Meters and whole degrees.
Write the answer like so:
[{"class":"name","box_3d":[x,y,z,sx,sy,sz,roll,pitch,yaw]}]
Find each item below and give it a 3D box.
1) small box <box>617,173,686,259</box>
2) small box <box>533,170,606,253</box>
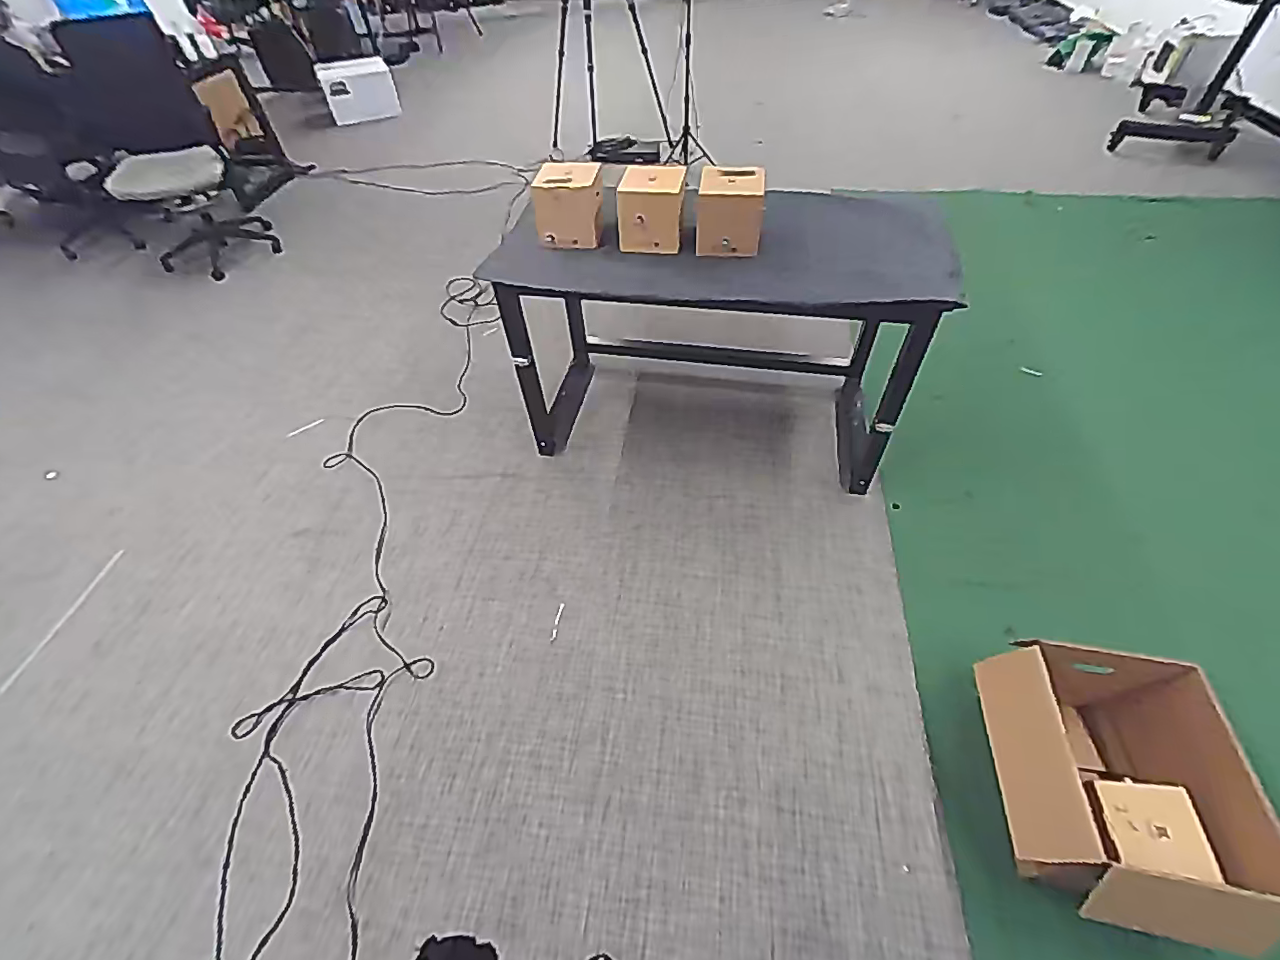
[{"class":"small box","box_3d":[0.038,-0.735,1.509,0.168,0.176,0.179,6,49,8]},{"class":"small box","box_3d":[-0.194,-0.765,1.545,0.168,0.176,0.179,4,48,6]}]
